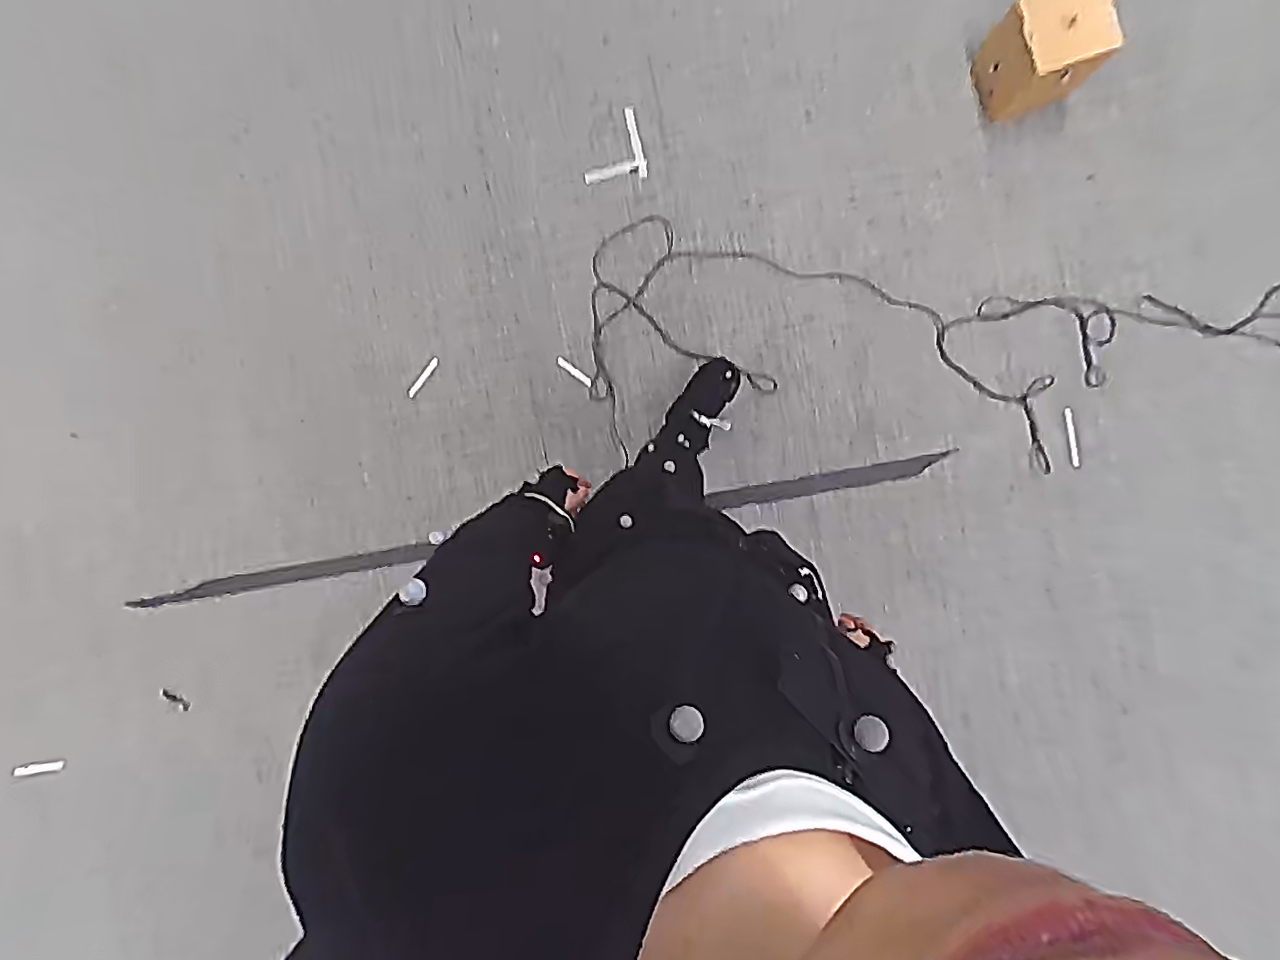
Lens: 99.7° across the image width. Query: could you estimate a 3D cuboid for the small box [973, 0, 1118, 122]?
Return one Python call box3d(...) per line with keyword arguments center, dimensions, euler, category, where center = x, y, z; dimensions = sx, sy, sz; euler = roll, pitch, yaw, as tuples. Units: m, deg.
box3d(center=(0.887, -0.944, 1.197), dimensions=(0.179, 0.176, 0.168), euler=(-17, 91, 5), category="small box")
